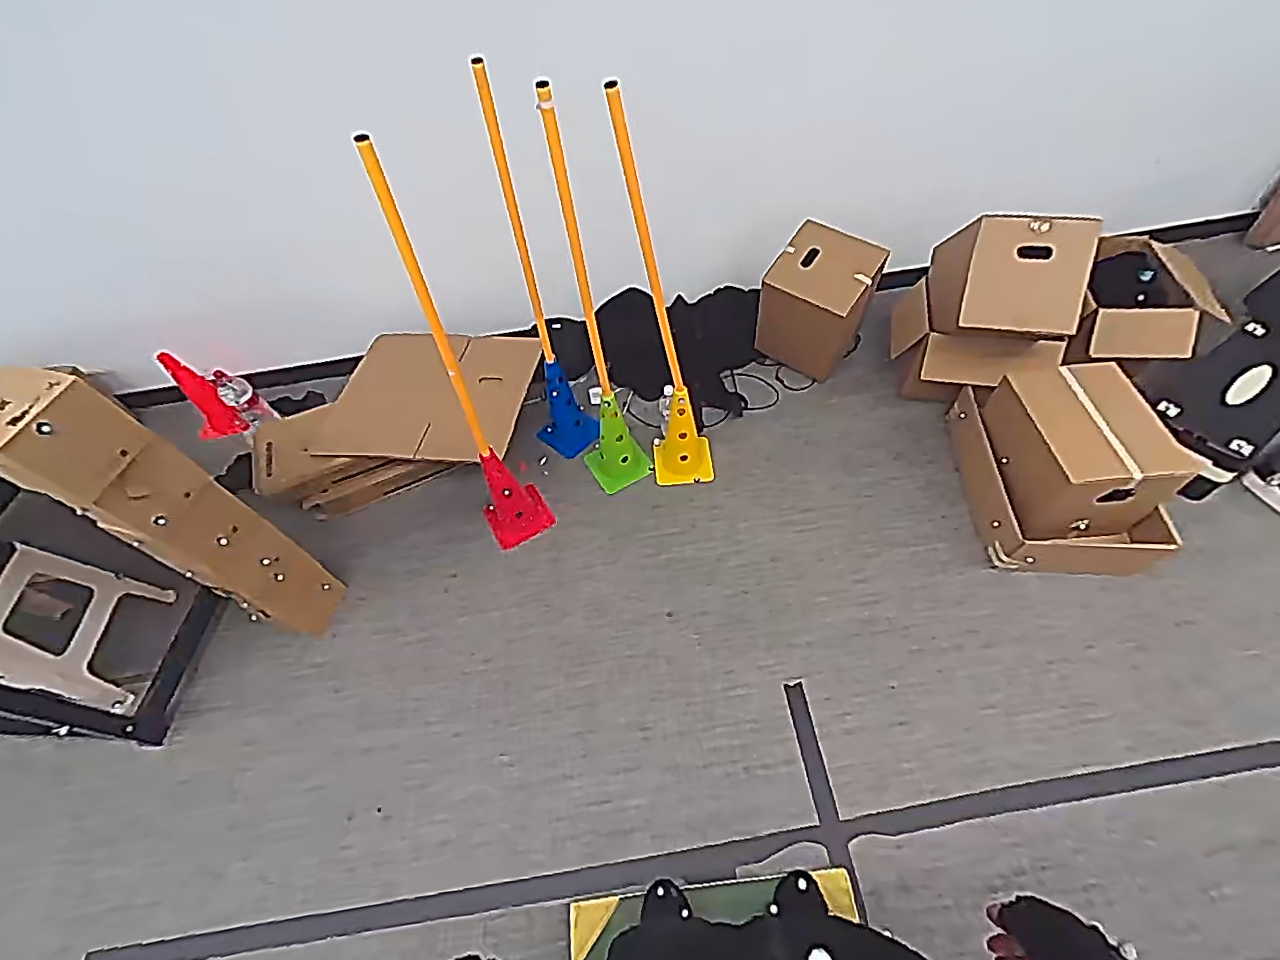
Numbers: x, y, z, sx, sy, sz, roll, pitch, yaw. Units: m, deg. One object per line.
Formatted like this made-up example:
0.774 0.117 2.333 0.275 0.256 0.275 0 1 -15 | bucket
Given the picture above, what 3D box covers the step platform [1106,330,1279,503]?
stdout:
1.878 -0.223 1.758 0.684 0.204 0.286 -33 58 -16 | step platform
